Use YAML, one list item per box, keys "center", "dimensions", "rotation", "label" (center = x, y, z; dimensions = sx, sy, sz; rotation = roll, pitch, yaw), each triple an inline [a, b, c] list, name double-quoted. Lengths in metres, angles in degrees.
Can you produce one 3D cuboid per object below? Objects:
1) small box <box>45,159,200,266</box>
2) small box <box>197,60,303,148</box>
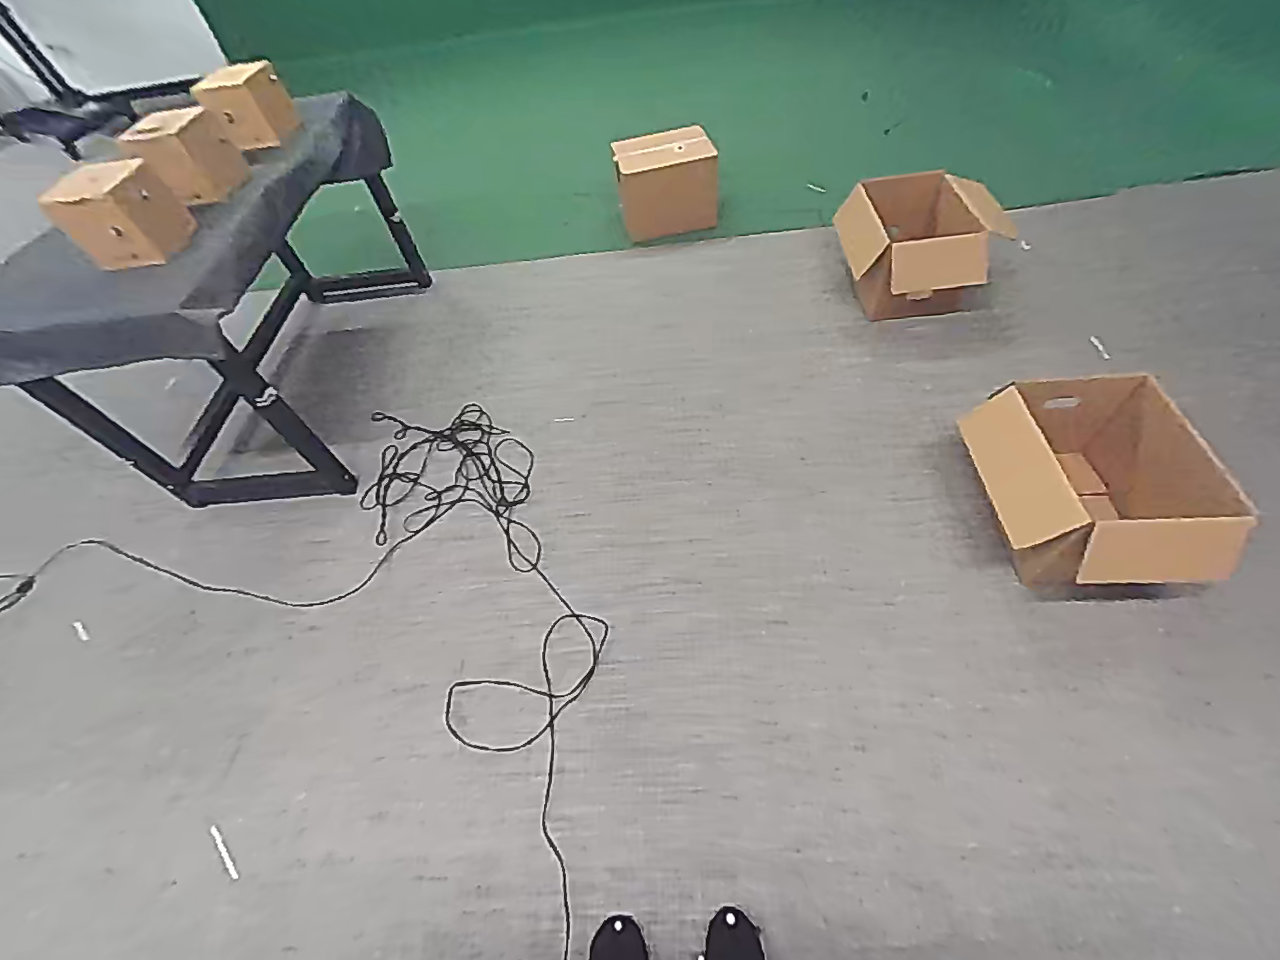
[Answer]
- center: [-1.204, -0.625, 1.278]
  dimensions: [0.168, 0.176, 0.179]
  rotation: [-5, 53, 4]
  label: "small box"
- center: [-1.167, -1.129, 1.636]
  dimensions: [0.168, 0.176, 0.179]
  rotation: [-3, 54, 7]
  label: "small box"
